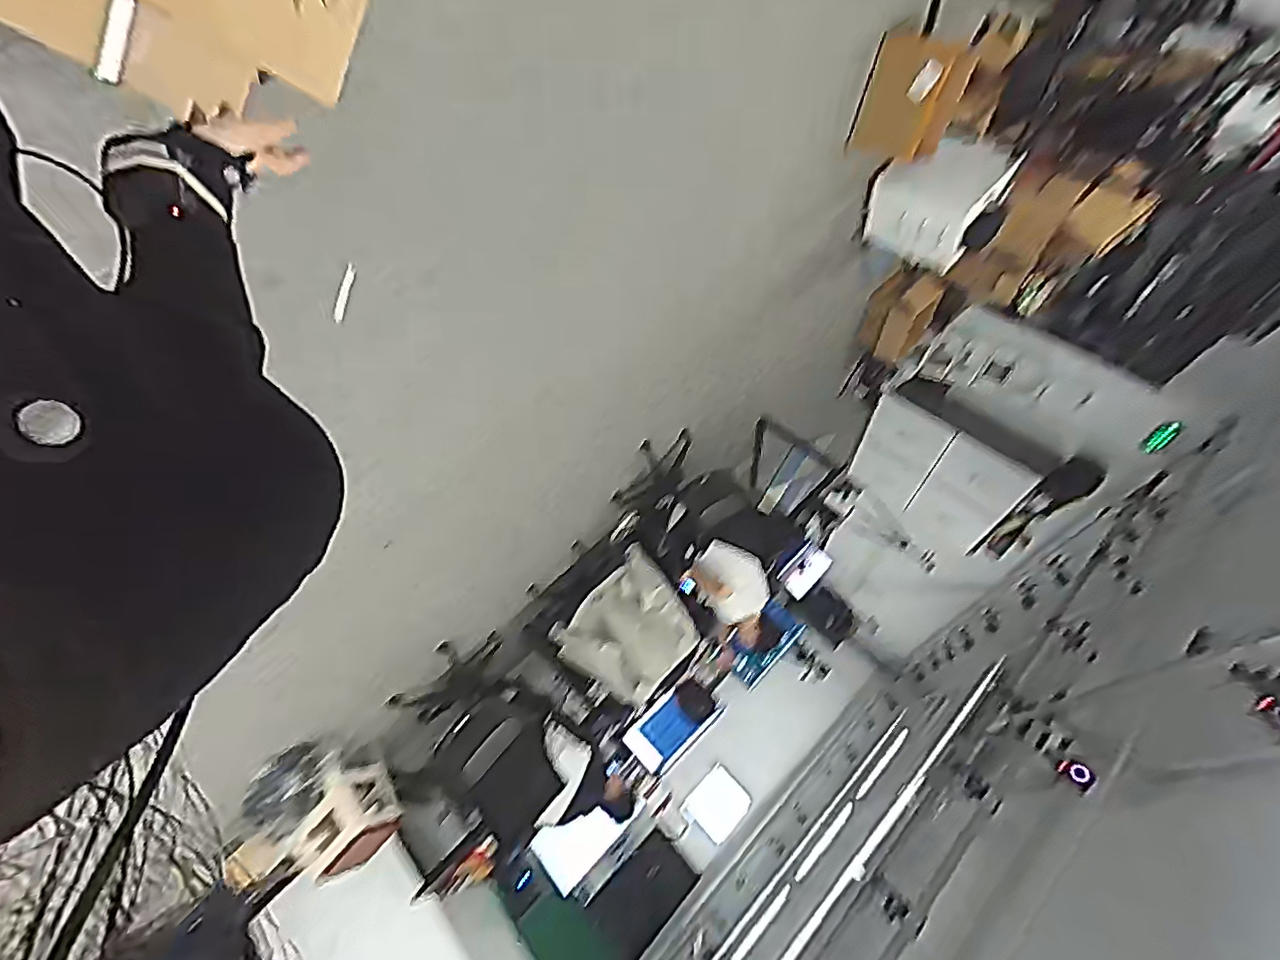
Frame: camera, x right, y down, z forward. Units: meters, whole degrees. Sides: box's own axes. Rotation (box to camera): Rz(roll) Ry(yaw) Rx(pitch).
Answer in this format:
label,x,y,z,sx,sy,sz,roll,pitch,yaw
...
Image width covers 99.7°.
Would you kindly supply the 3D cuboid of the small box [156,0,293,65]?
label,x,y,z,sx,sy,sz,roll,pitch,yaw
small box,-0.484,-0.590,0.565,0.179,0.176,0.168,4,122,-59
